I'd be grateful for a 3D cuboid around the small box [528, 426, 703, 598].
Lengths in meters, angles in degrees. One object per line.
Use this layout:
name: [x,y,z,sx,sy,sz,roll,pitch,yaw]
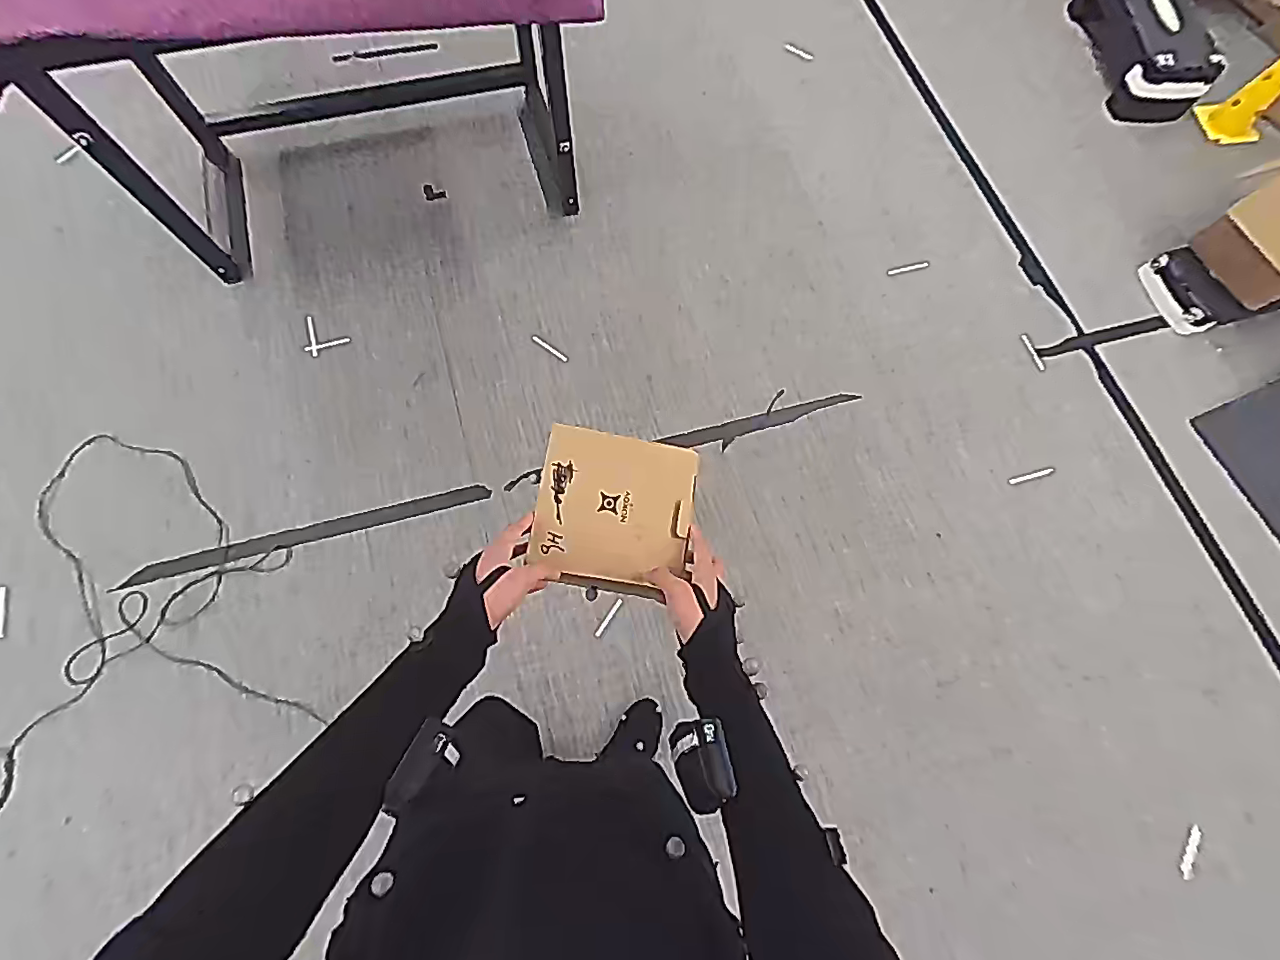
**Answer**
small box: [-0.037,0.052,0.677,0.179,0.176,0.168,12,74,-8]
